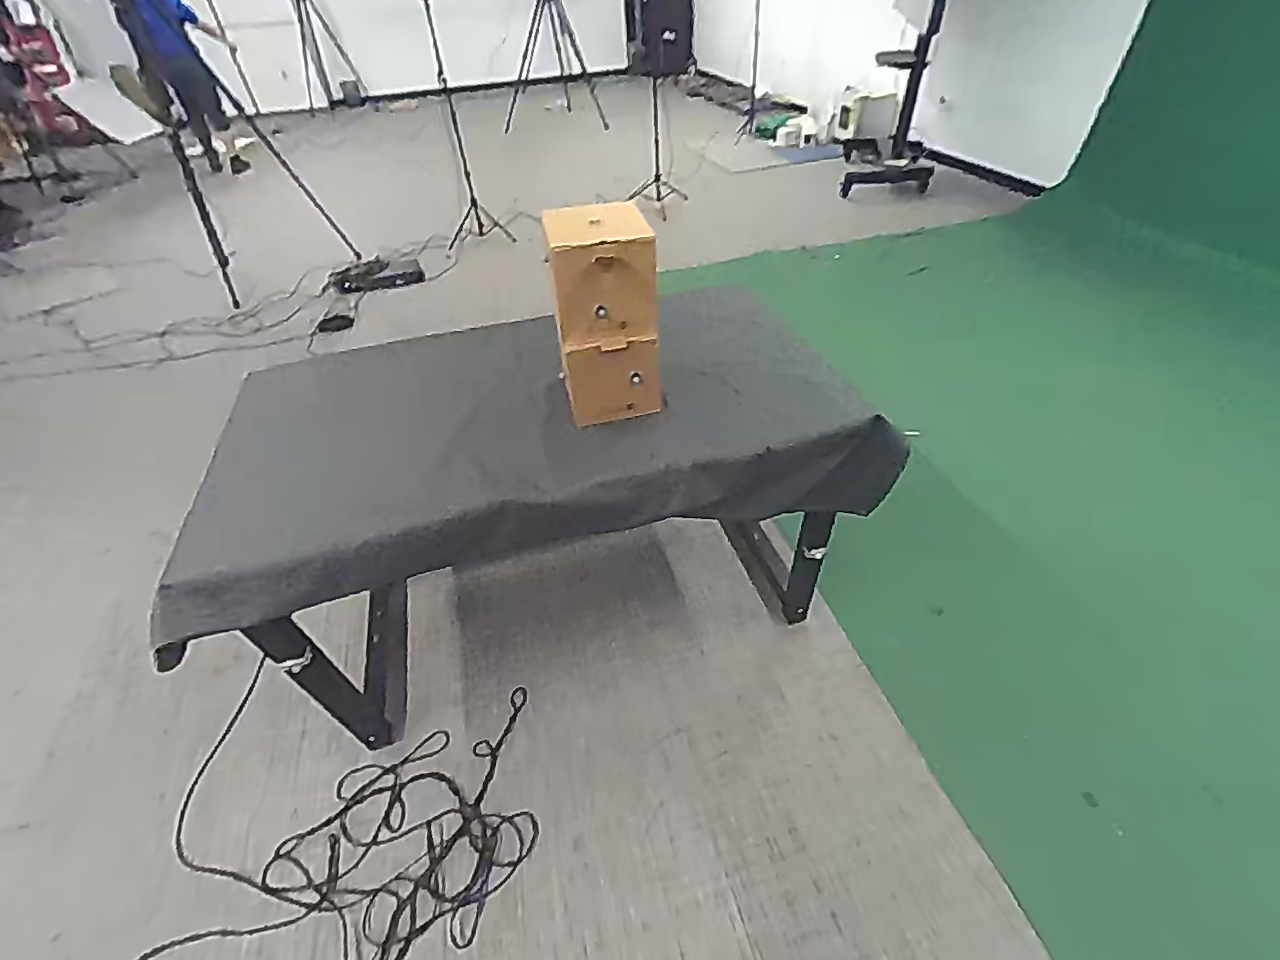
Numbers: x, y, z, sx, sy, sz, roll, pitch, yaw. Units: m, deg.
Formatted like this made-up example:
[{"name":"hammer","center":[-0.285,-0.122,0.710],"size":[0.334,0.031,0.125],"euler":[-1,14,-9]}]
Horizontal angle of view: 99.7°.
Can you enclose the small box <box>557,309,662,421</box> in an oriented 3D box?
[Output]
[{"name":"small box","center":[-0.057,-0.226,1.034],"size":[0.168,0.176,0.179],"euler":[-11,43,-8]}]

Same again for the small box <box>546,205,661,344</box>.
[{"name":"small box","center":[-0.064,-0.355,0.934],"size":[0.168,0.176,0.179],"euler":[-10,45,-8]}]
